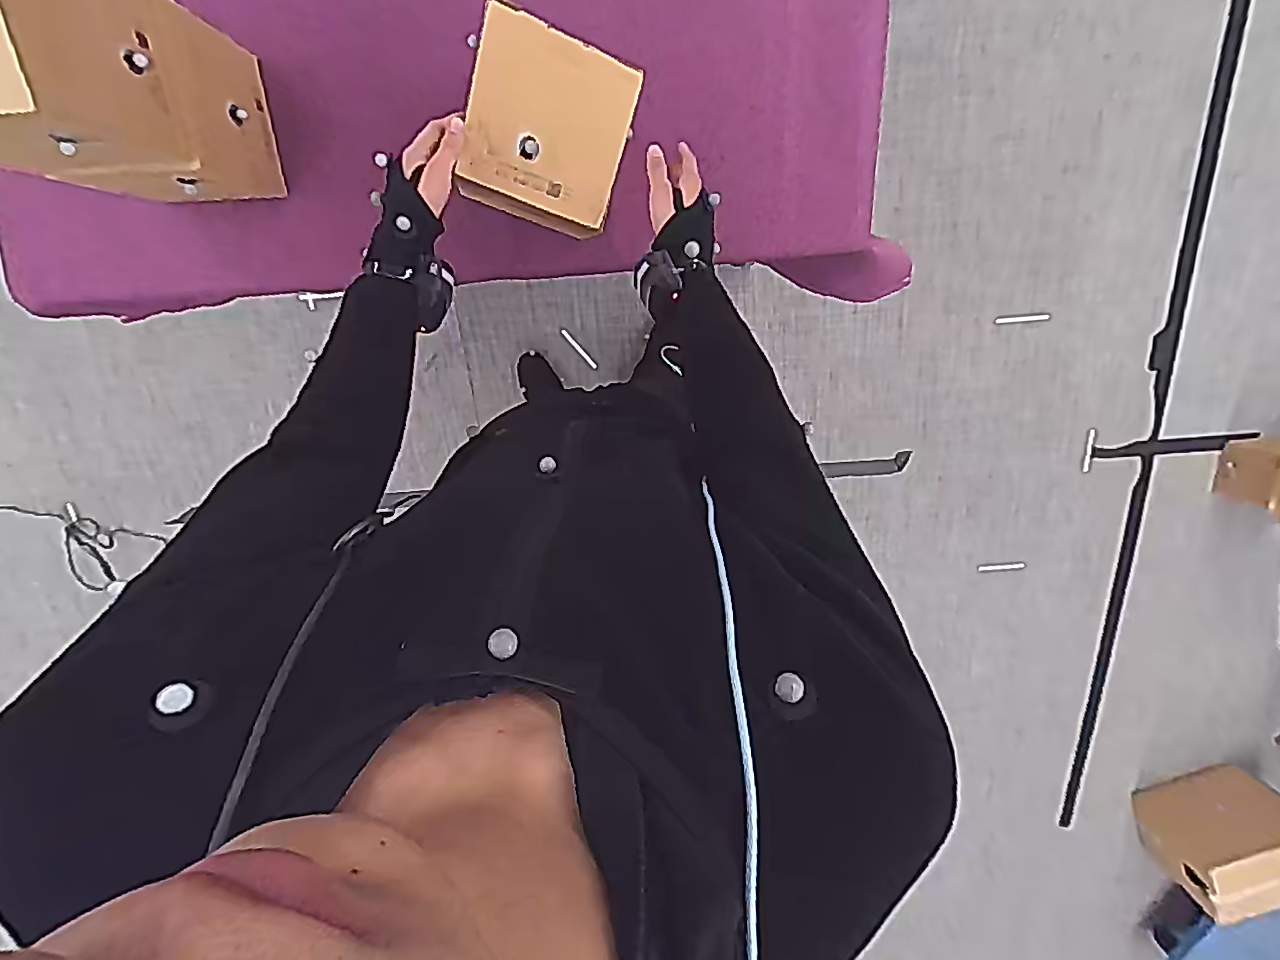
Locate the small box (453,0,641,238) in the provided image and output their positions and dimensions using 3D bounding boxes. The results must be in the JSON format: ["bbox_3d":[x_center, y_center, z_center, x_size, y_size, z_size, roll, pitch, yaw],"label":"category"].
[{"bbox_3d":[-0.118,-0.402,0.642,0.168,0.179,0.176,13,107,-19],"label":"small box"}]

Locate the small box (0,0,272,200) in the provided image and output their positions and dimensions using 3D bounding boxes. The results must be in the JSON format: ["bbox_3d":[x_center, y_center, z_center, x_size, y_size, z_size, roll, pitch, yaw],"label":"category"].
[{"bbox_3d":[-0.573,-0.436,0.636,0.179,0.176,0.168,-3,108,-1],"label":"small box"}]
